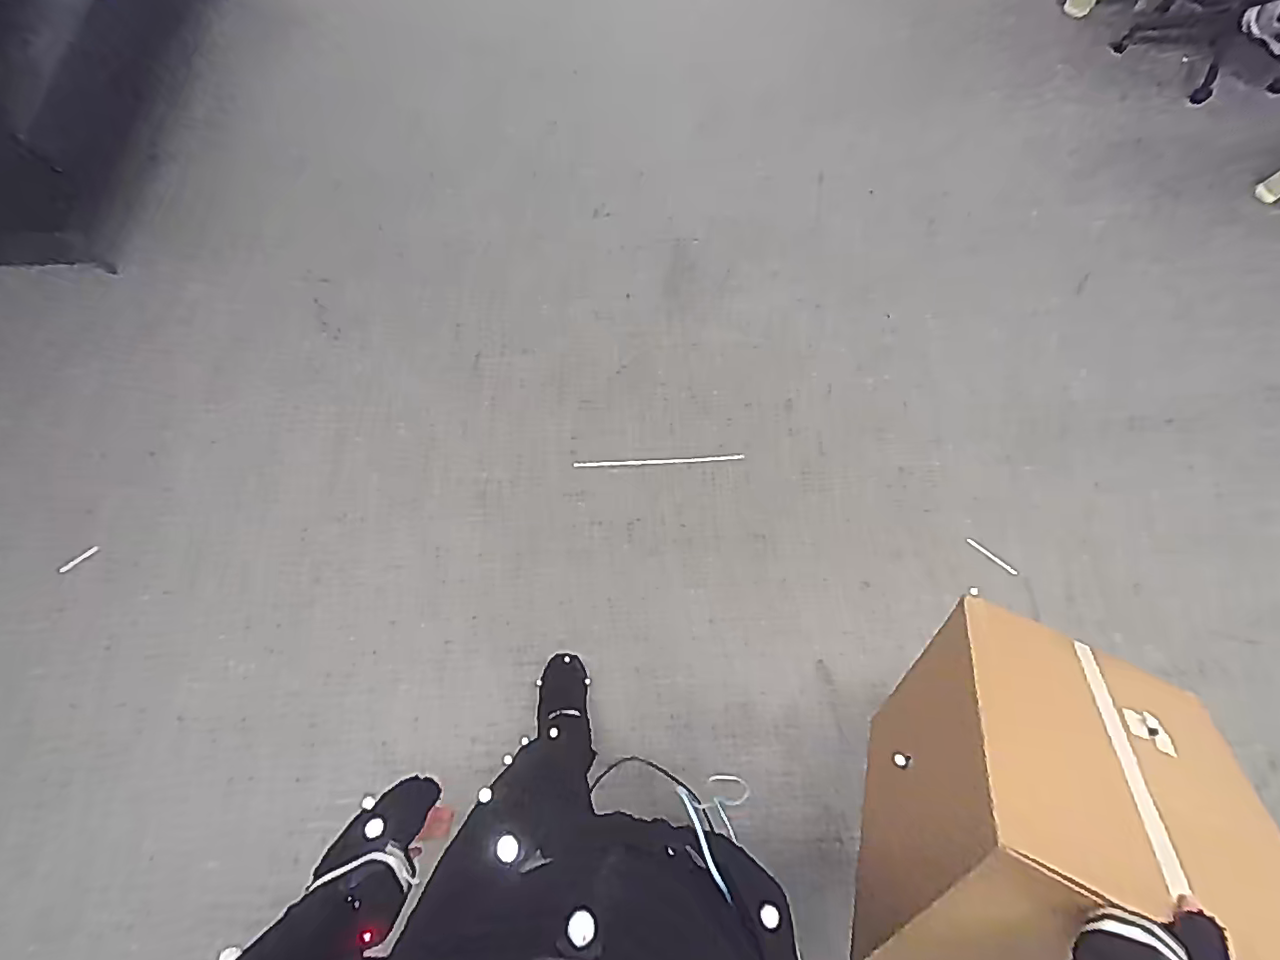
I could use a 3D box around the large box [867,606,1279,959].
[{"bbox_3d":[0.507,0.448,0.686,0.320,0.320,0.408,25,31,14],"label":"large box"}]
